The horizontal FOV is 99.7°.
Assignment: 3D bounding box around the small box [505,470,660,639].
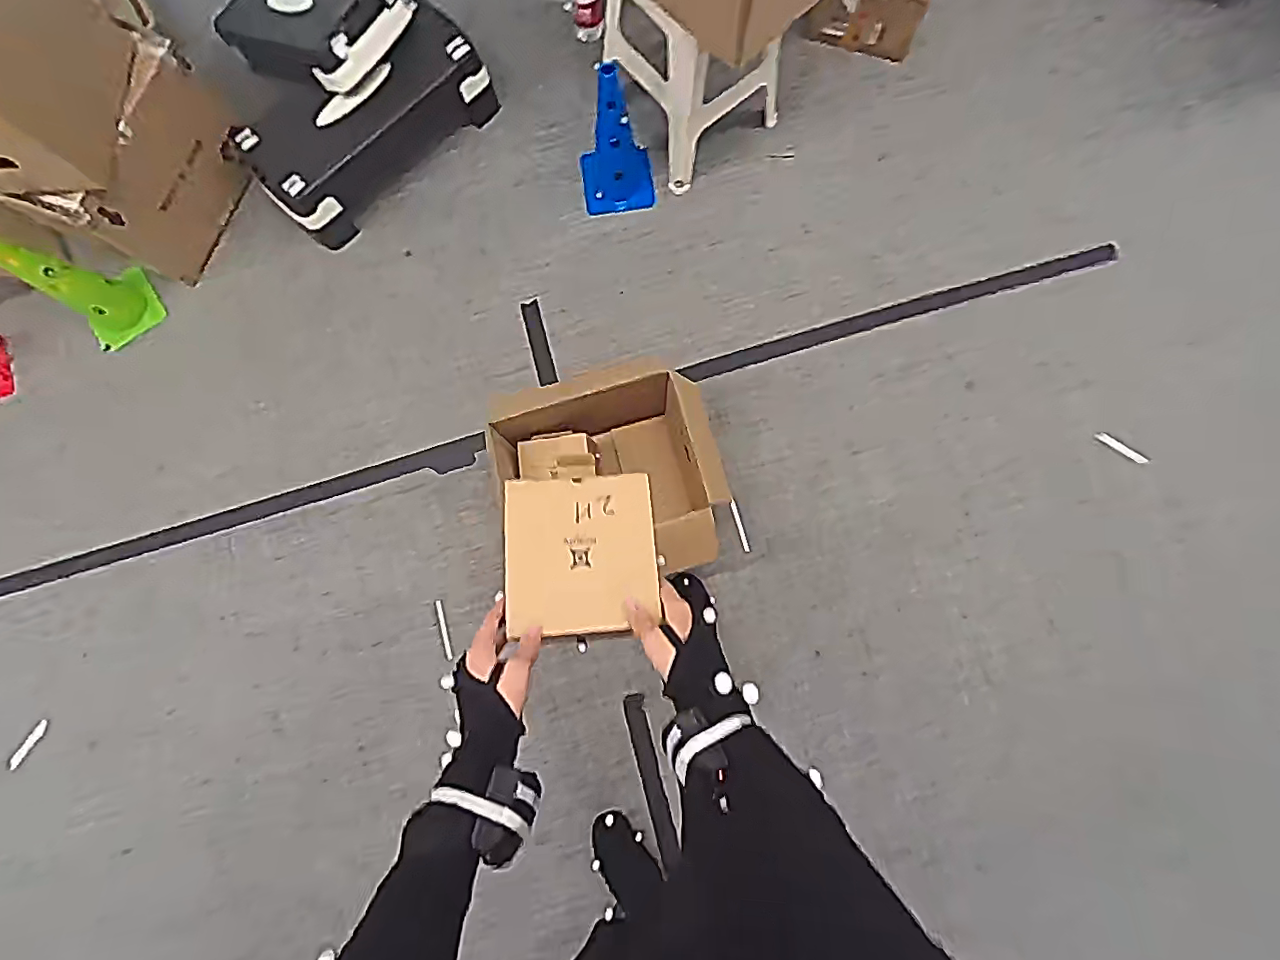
[{"bbox_3d":[-0.070,0.100,0.667,0.168,0.176,0.179,-3,70,-6],"label":"small box"}]
